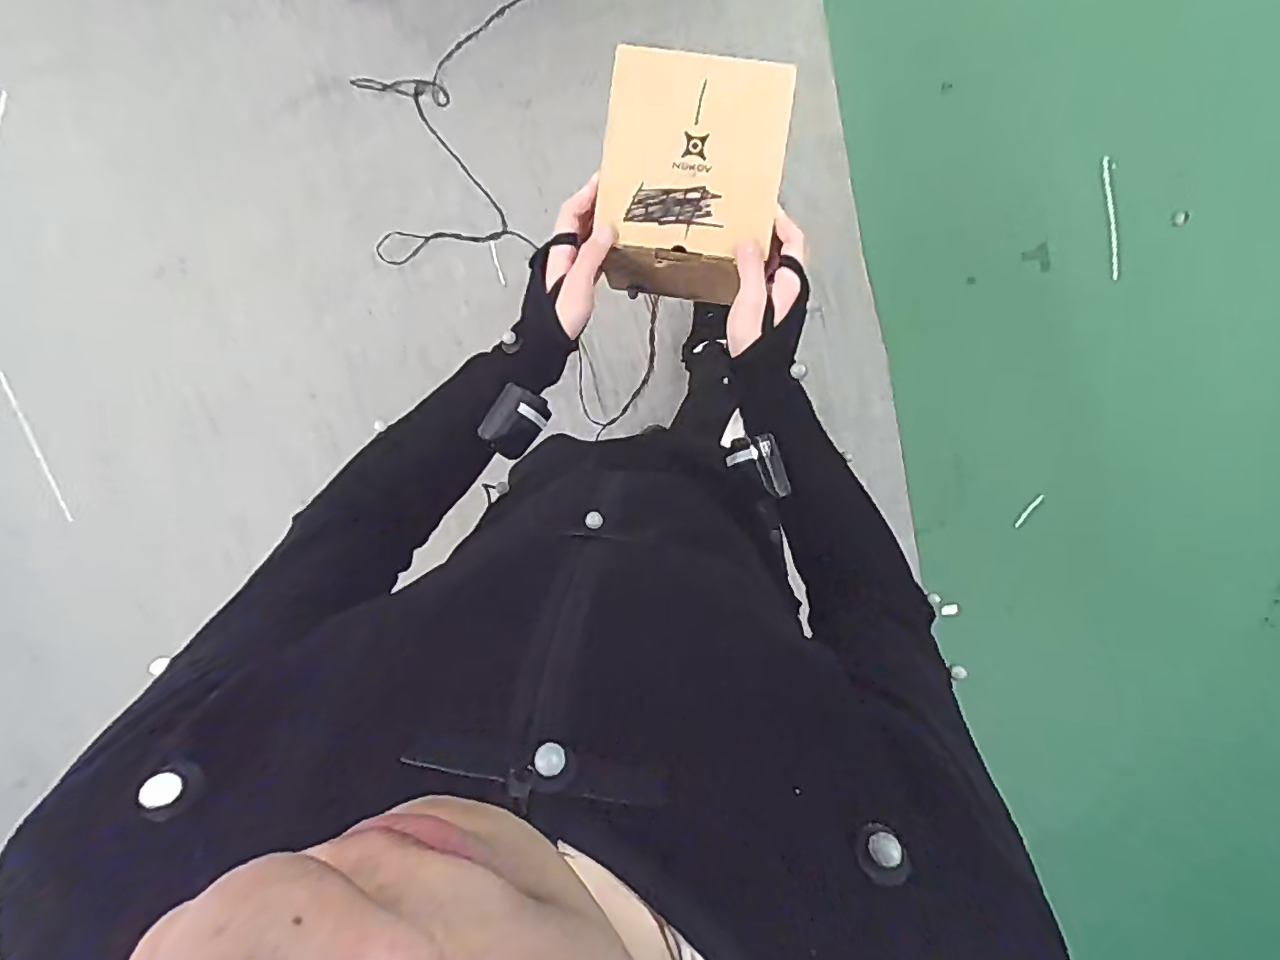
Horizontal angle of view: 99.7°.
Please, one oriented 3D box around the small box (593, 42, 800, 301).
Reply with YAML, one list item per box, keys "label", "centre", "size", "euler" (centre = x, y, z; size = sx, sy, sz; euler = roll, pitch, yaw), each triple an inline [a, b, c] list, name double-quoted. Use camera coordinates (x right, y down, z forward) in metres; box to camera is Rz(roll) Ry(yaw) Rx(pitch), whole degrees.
- label: "small box"
  centre: [0.053, -0.298, 0.563]
  size: [0.168, 0.176, 0.179]
  euler: [8, 95, 1]
